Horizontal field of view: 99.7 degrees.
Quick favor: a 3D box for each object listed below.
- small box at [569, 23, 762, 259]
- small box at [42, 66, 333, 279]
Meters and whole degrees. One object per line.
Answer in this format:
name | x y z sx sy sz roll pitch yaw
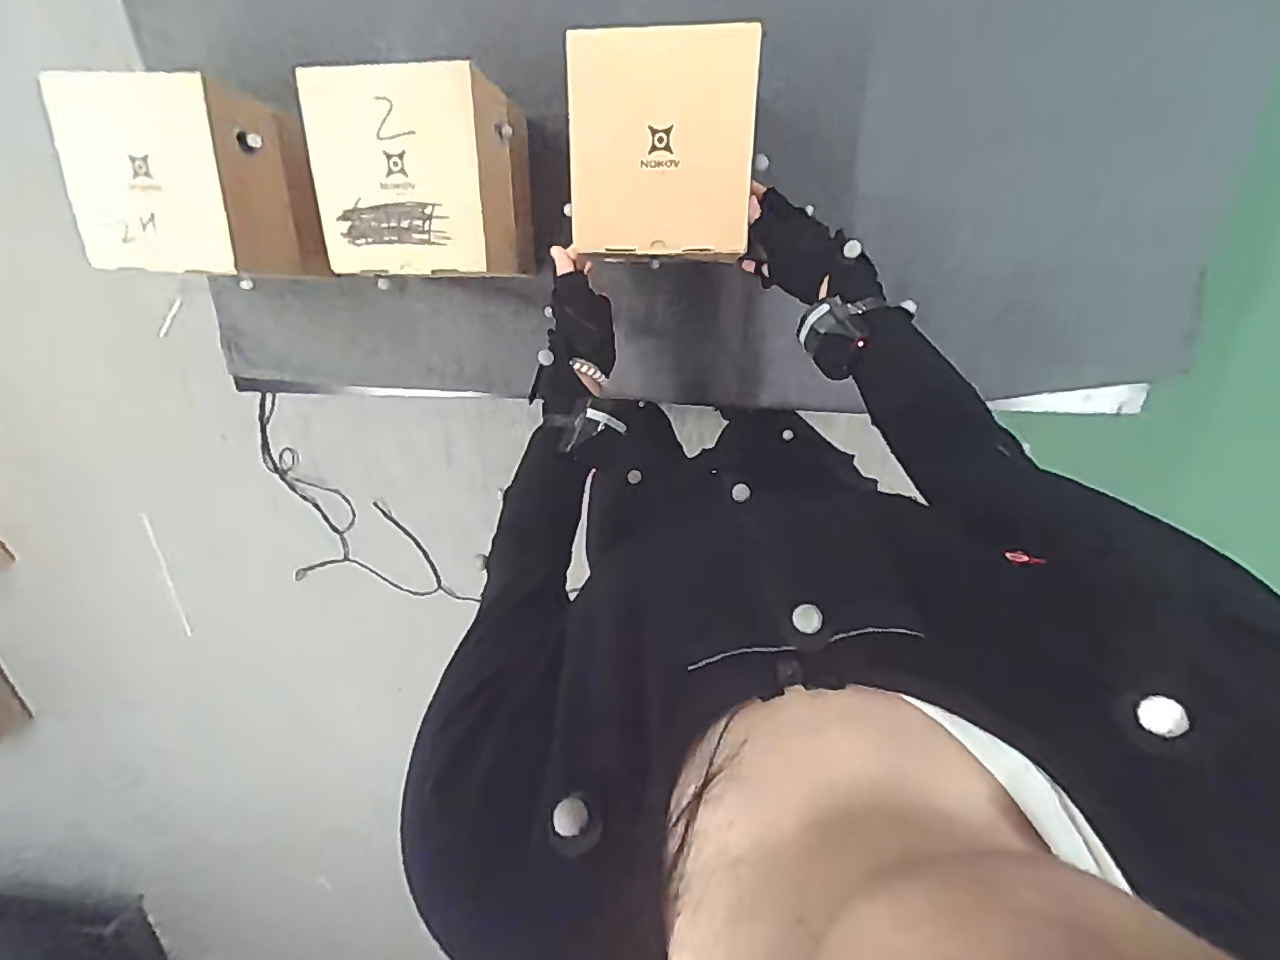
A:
small box | 0.026 -0.325 0.554 0.168 0.176 0.179 2 111 5
small box | -0.478 -0.325 0.605 0.168 0.176 0.179 4 109 5
